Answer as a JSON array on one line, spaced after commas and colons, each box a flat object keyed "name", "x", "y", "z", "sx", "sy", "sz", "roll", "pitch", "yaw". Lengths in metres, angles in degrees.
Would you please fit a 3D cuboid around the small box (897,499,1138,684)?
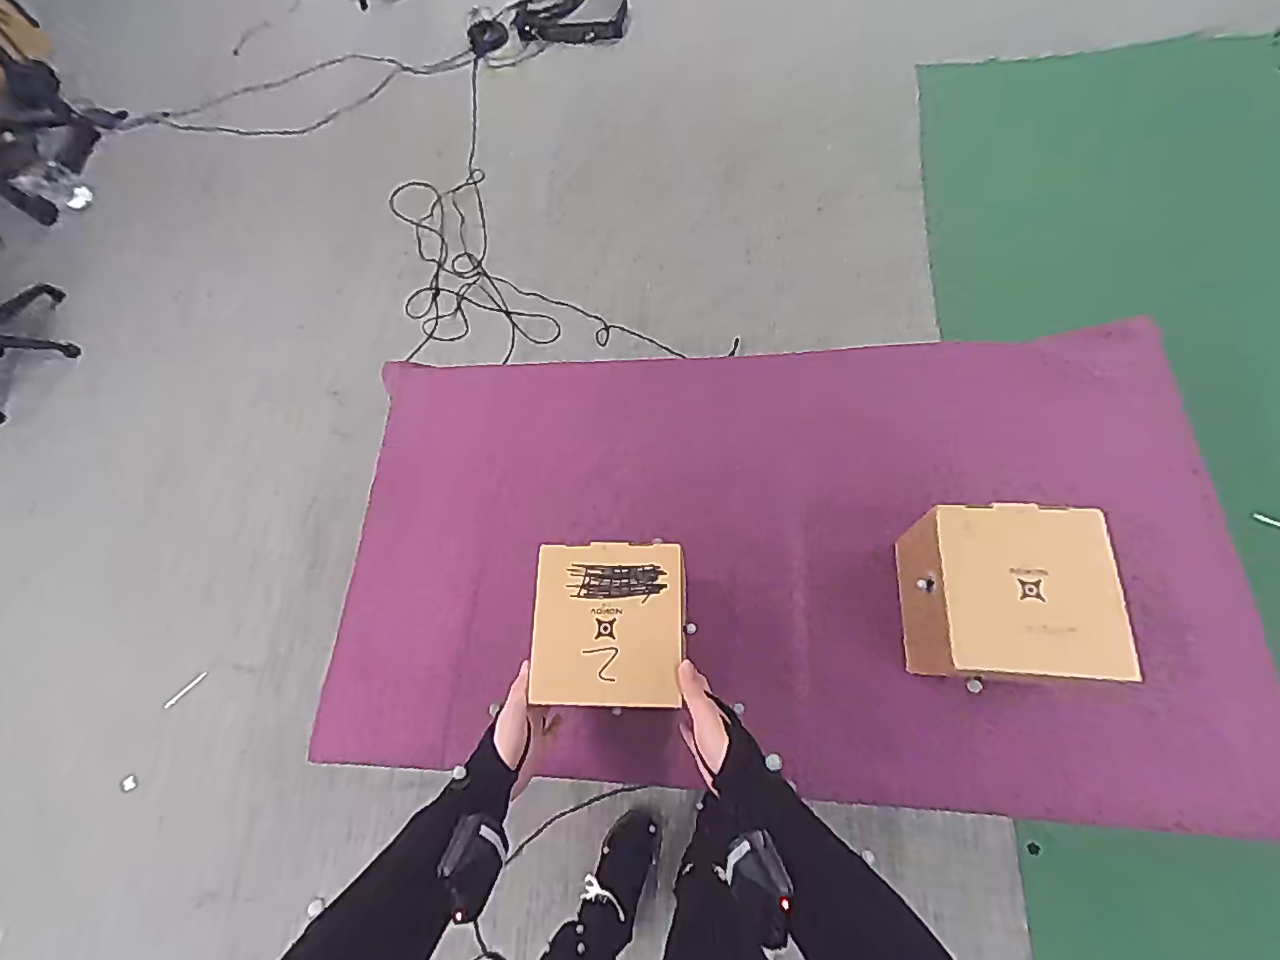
[{"name": "small box", "x": 0.409, "y": 0.134, "z": 0.624, "sx": 0.168, "sy": 0.176, "sz": 0.179, "roll": 1, "pitch": 69, "yaw": 11}]
